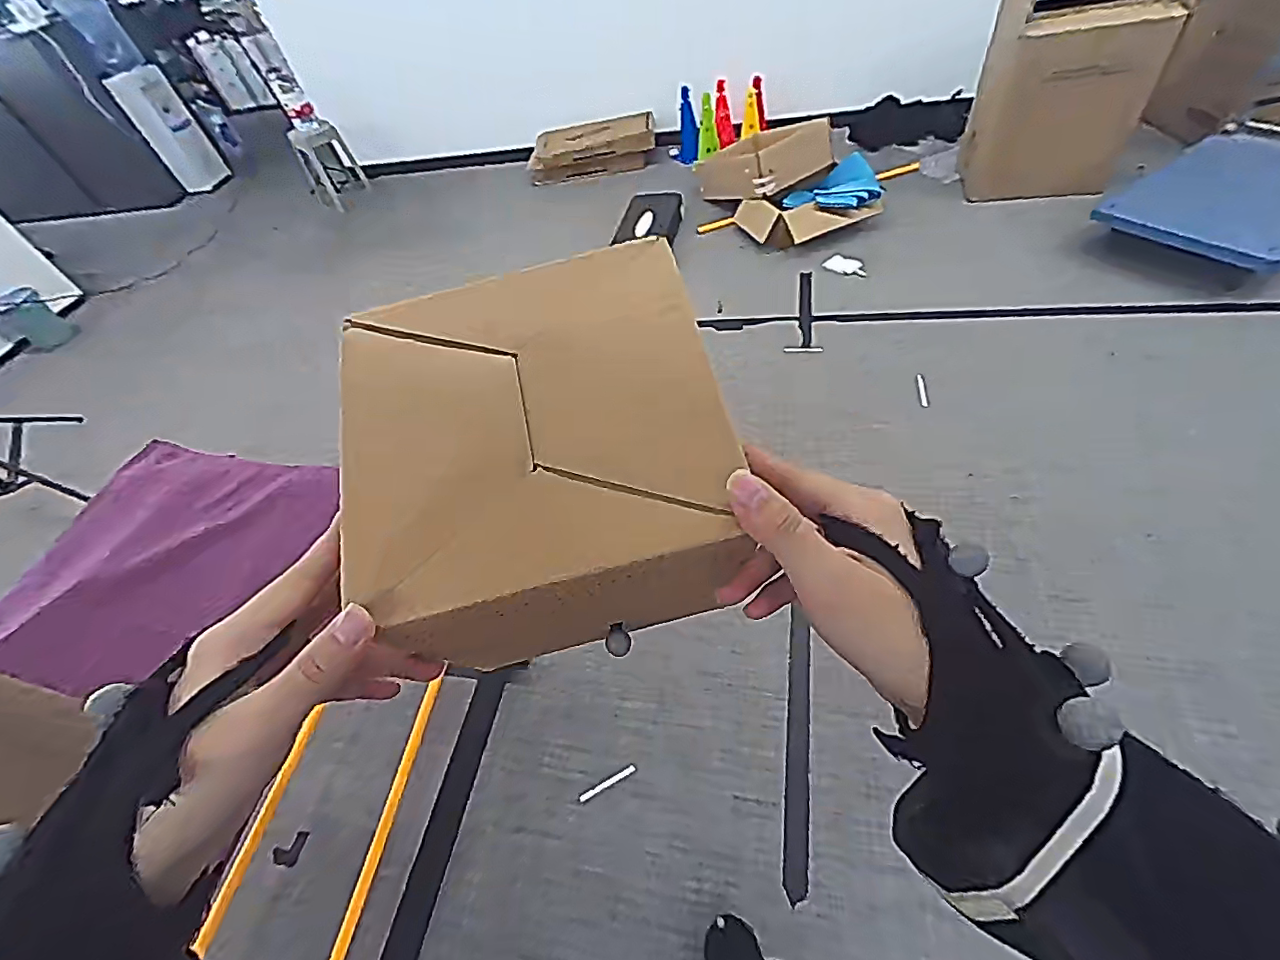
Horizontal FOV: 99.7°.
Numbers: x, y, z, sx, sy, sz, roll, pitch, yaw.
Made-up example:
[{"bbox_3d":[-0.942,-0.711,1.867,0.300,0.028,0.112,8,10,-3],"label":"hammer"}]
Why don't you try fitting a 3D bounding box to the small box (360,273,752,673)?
[{"bbox_3d":[-0.044,0.005,0.327,0.179,0.176,0.168,-15,65,0],"label":"small box"}]
